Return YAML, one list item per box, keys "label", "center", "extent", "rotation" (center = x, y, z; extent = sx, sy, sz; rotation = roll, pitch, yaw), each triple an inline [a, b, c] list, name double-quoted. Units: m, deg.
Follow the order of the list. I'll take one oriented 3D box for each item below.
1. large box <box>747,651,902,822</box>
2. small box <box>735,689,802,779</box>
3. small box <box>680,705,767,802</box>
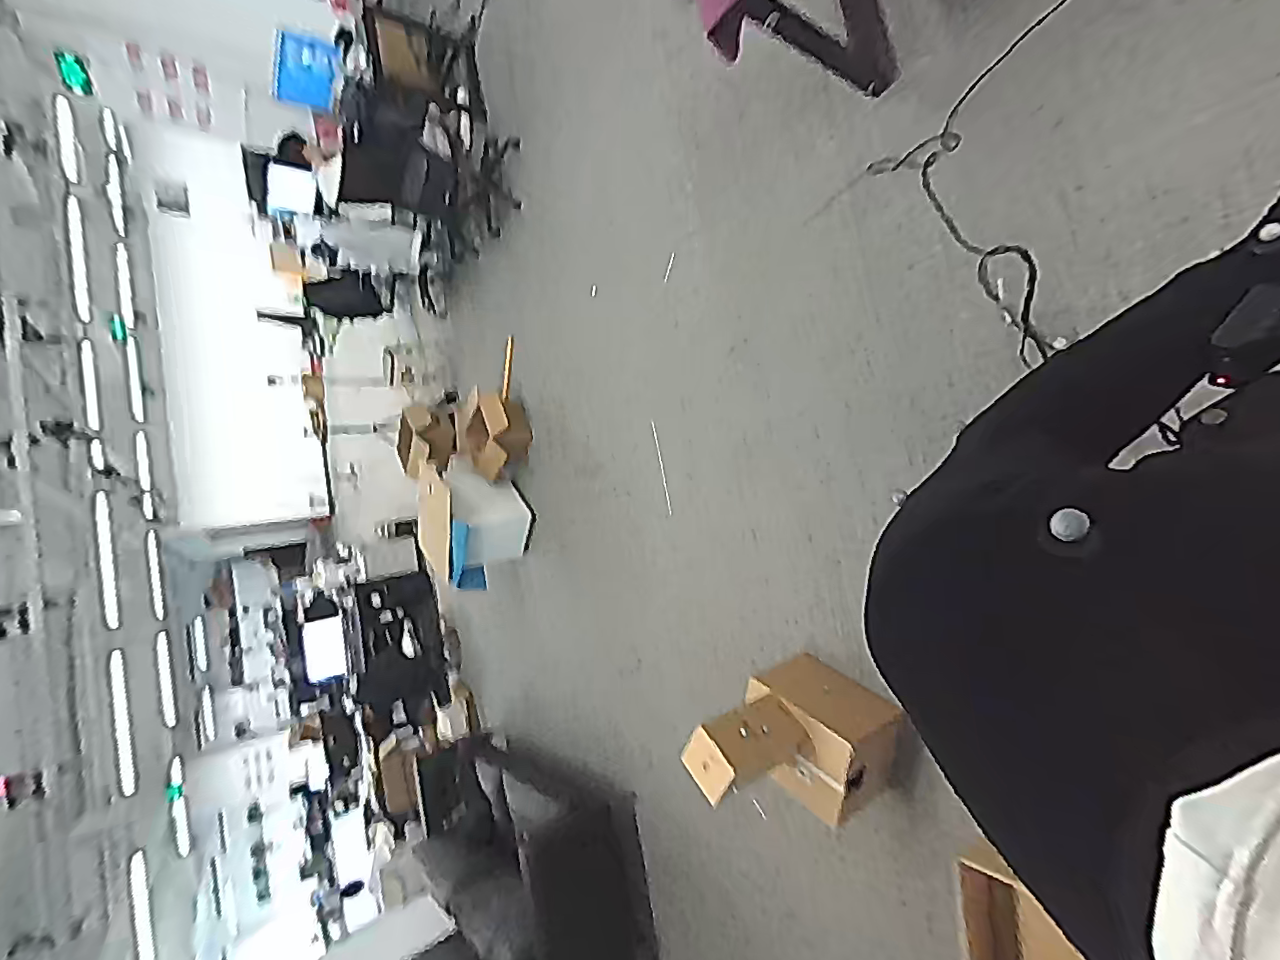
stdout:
- label: "large box"
  center: [0.610, 0.847, 1.857]
  extent: [0.408, 0.320, 0.320]
  rotation: [21, 112, 48]
- label: "small box"
  center: [0.388, 0.810, 1.736]
  extent: [0.168, 0.176, 0.179]
  rotation: [45, 128, 39]
- label: "small box"
  center: [0.255, 0.823, 1.638]
  extent: [0.168, 0.176, 0.179]
  rotation: [44, 126, 39]
